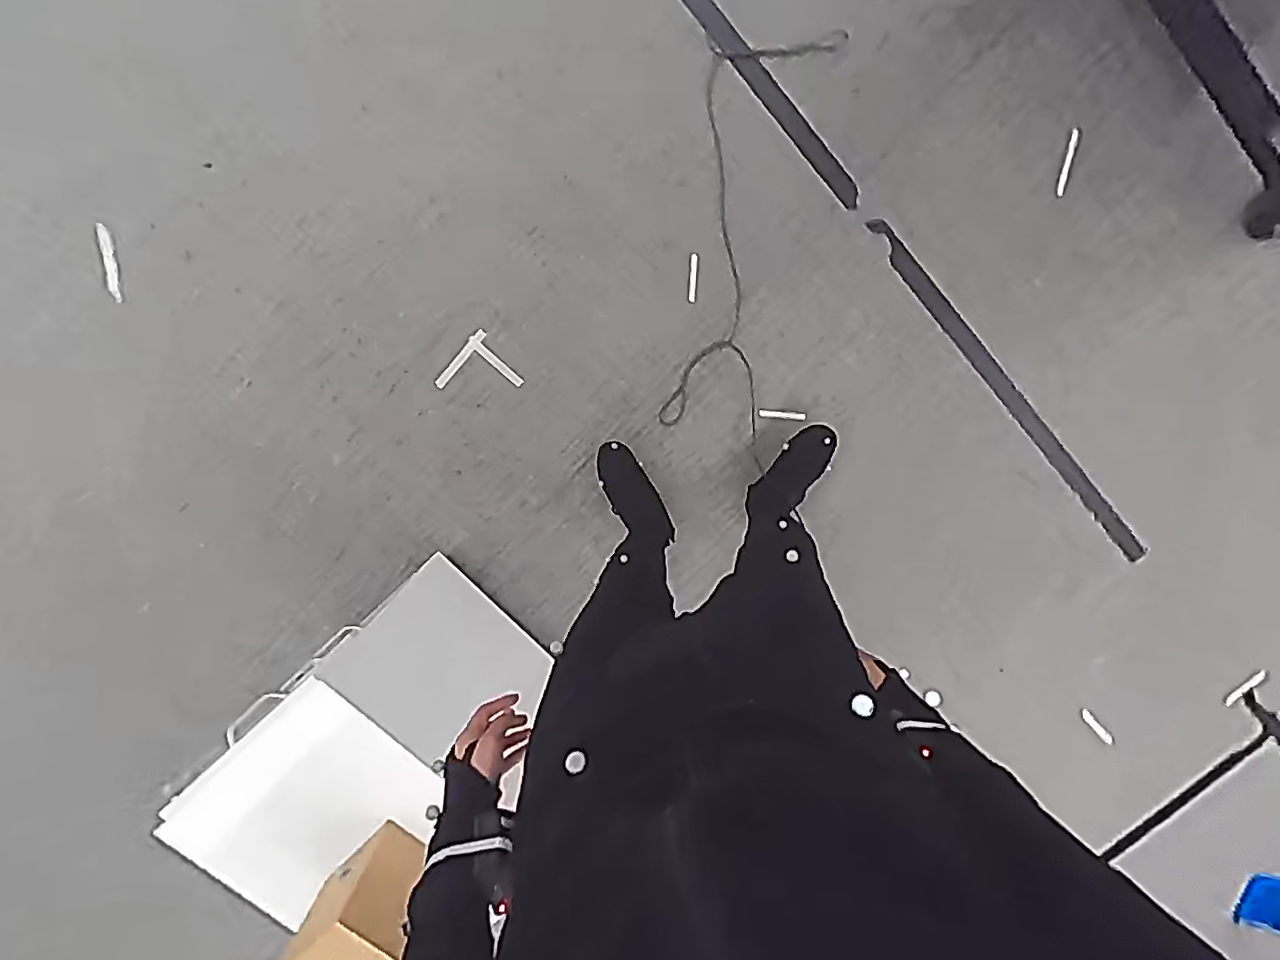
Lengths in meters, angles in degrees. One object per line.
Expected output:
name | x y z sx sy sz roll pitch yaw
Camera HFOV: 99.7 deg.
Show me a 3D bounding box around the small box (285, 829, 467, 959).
small box | -0.392 0.681 0.816 0.179 0.176 0.168 44 97 -10
